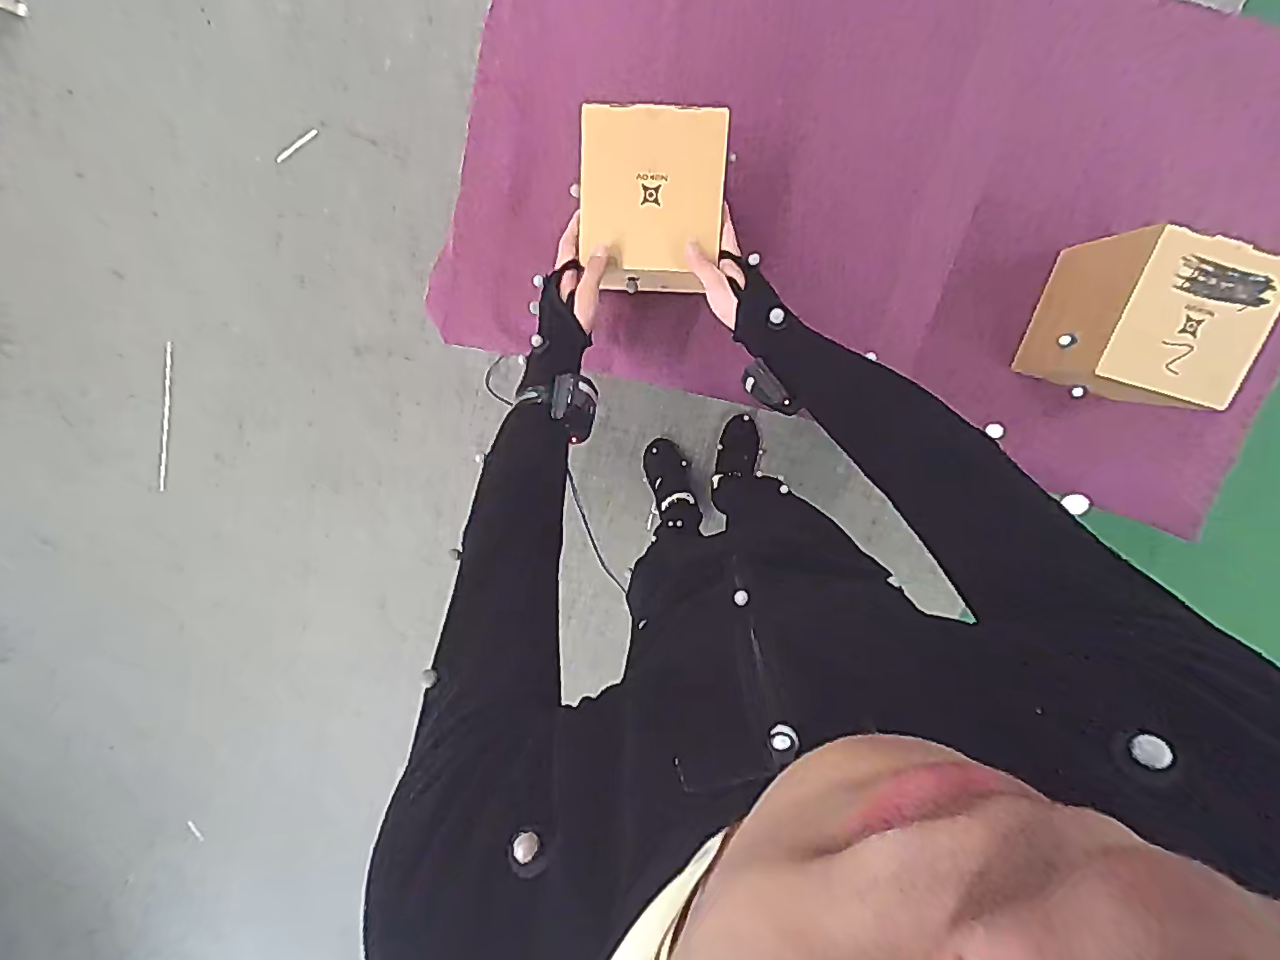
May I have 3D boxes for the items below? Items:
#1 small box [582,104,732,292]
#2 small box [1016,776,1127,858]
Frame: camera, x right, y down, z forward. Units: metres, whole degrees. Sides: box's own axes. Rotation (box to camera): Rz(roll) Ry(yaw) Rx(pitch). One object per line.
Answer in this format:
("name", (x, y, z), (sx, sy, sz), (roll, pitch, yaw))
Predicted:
("small box", (0.021, -0.341, 0.687), (0.168, 0.176, 0.179), (2, 100, 2))
("small box", (1.331, 1.063, 1.681), (0.179, 0.176, 0.168), (18, 103, -1))
